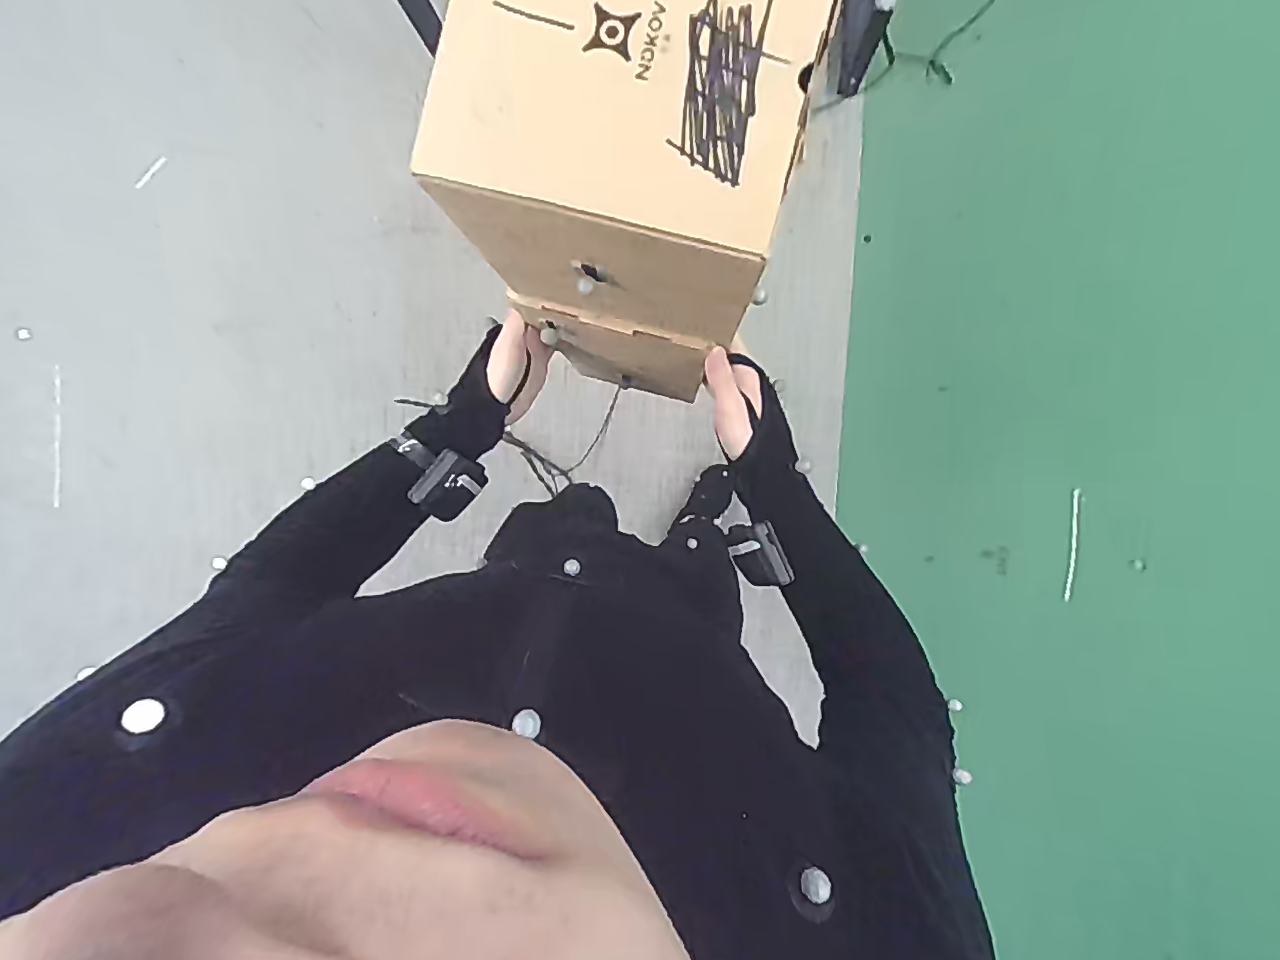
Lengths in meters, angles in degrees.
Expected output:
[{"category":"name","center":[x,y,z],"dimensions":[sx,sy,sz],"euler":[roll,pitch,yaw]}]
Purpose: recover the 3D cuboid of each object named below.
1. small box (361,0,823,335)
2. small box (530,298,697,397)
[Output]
[{"category":"small box","center":[-0.014,-0.195,0.310],"dimensions":[0.179,0.176,0.168],"euler":[16,92,2]},{"category":"small box","center":[-0.011,-0.208,0.639],"dimensions":[0.168,0.176,0.179],"euler":[16,91,2]}]
